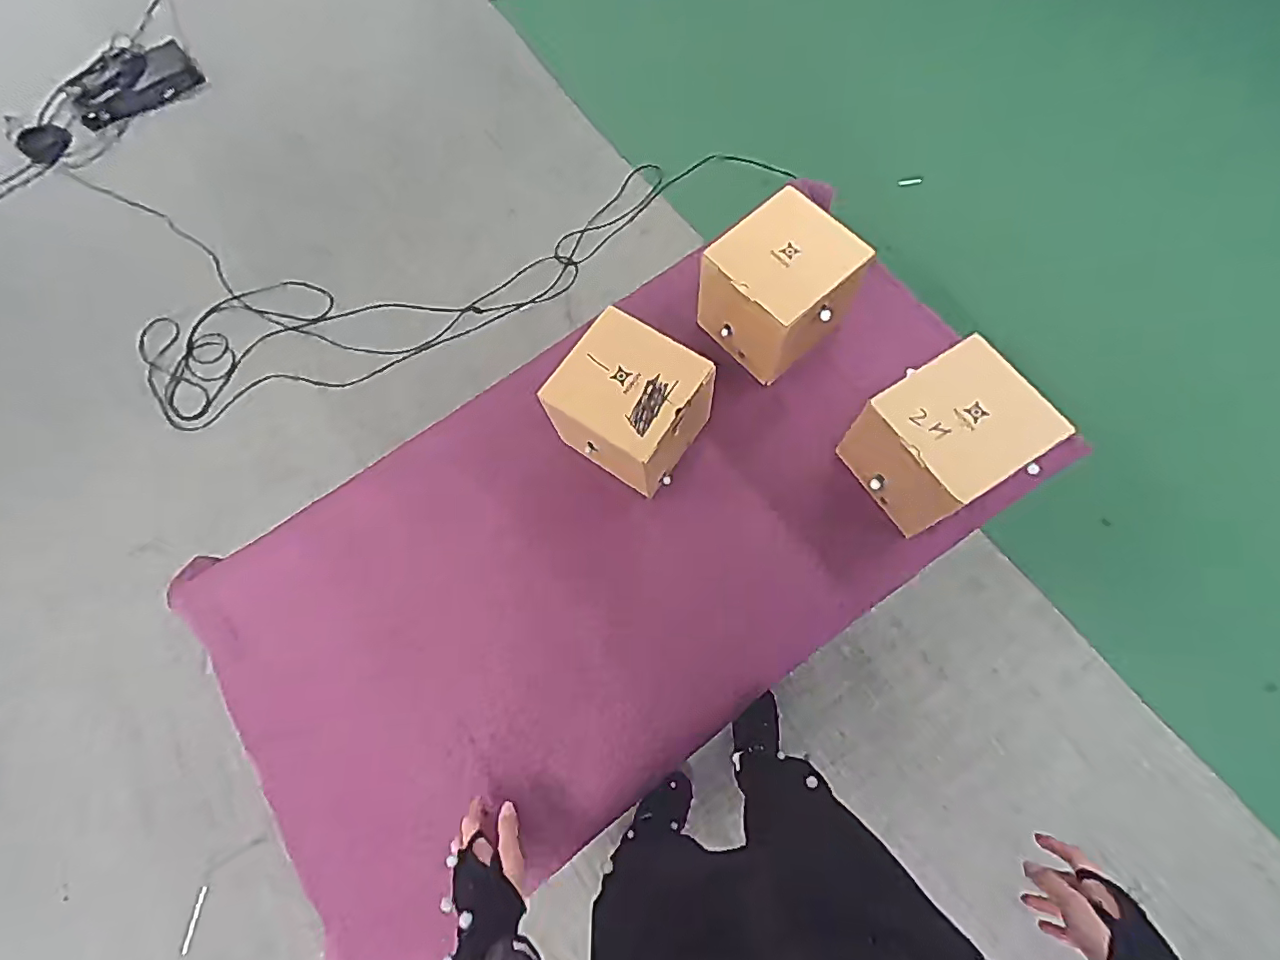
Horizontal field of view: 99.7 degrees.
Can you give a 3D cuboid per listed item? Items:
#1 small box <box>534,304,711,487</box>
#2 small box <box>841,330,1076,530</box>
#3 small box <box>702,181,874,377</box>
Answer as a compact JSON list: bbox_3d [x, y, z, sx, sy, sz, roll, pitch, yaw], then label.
[{"bbox_3d":[-0.016,-0.107,0.772,0.179,0.176,0.168,33,78,14],"label":"small box"},{"bbox_3d":[0.401,-0.057,0.720,0.179,0.176,0.168,-32,72,-5],"label":"small box"},{"bbox_3d":[0.205,-0.291,0.811,0.179,0.176,0.168,-41,75,-7],"label":"small box"}]
